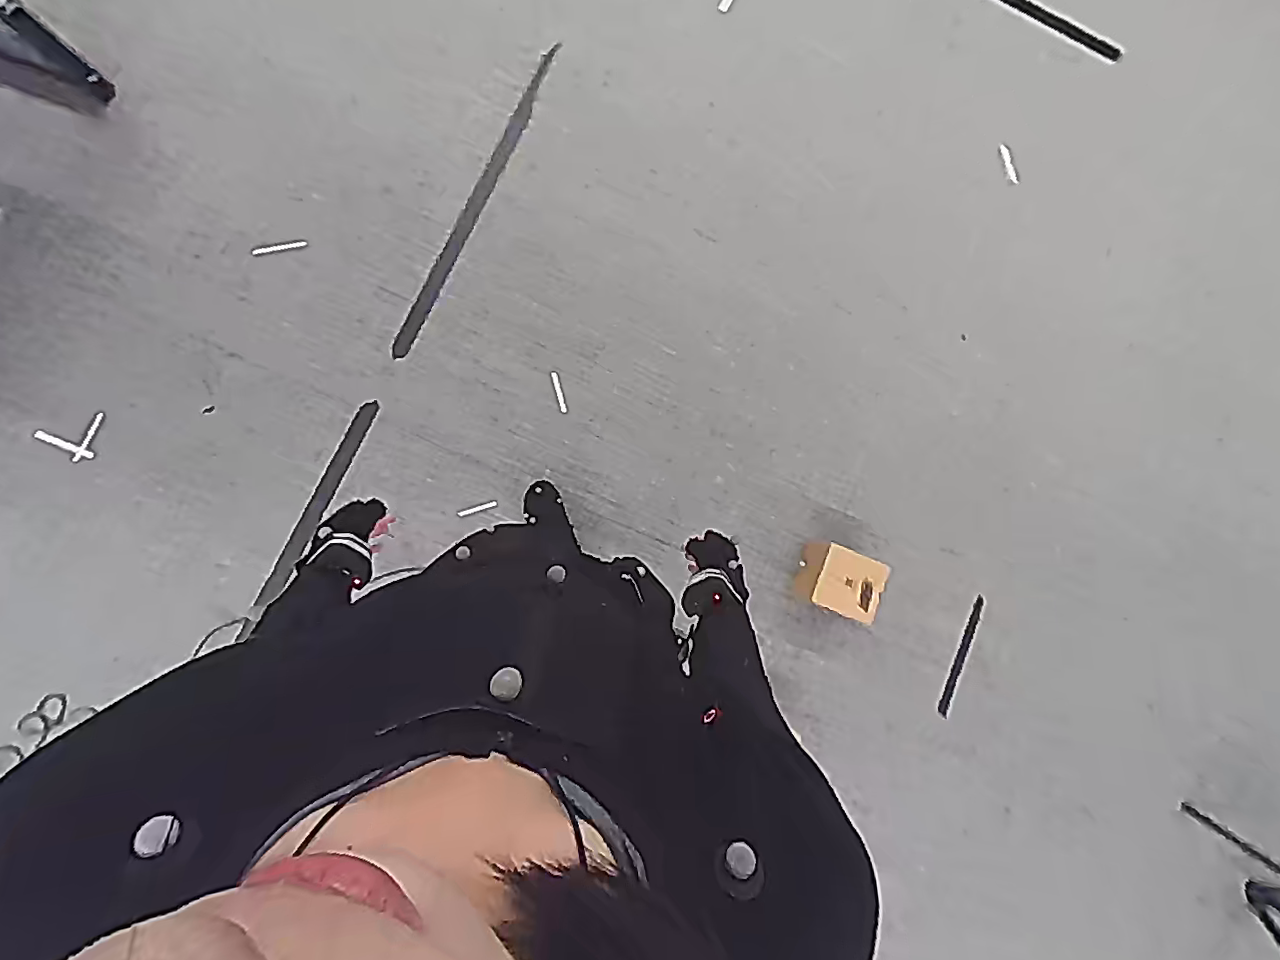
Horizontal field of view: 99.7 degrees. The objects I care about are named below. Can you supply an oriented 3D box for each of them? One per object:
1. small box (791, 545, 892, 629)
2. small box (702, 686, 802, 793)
[{"bbox_3d":[0.543,0.283,1.477,0.179,0.176,0.168,23,84,-2],"label":"small box"},{"bbox_3d":[0.286,0.672,1.430,0.179,0.176,0.168,39,84,0],"label":"small box"}]
